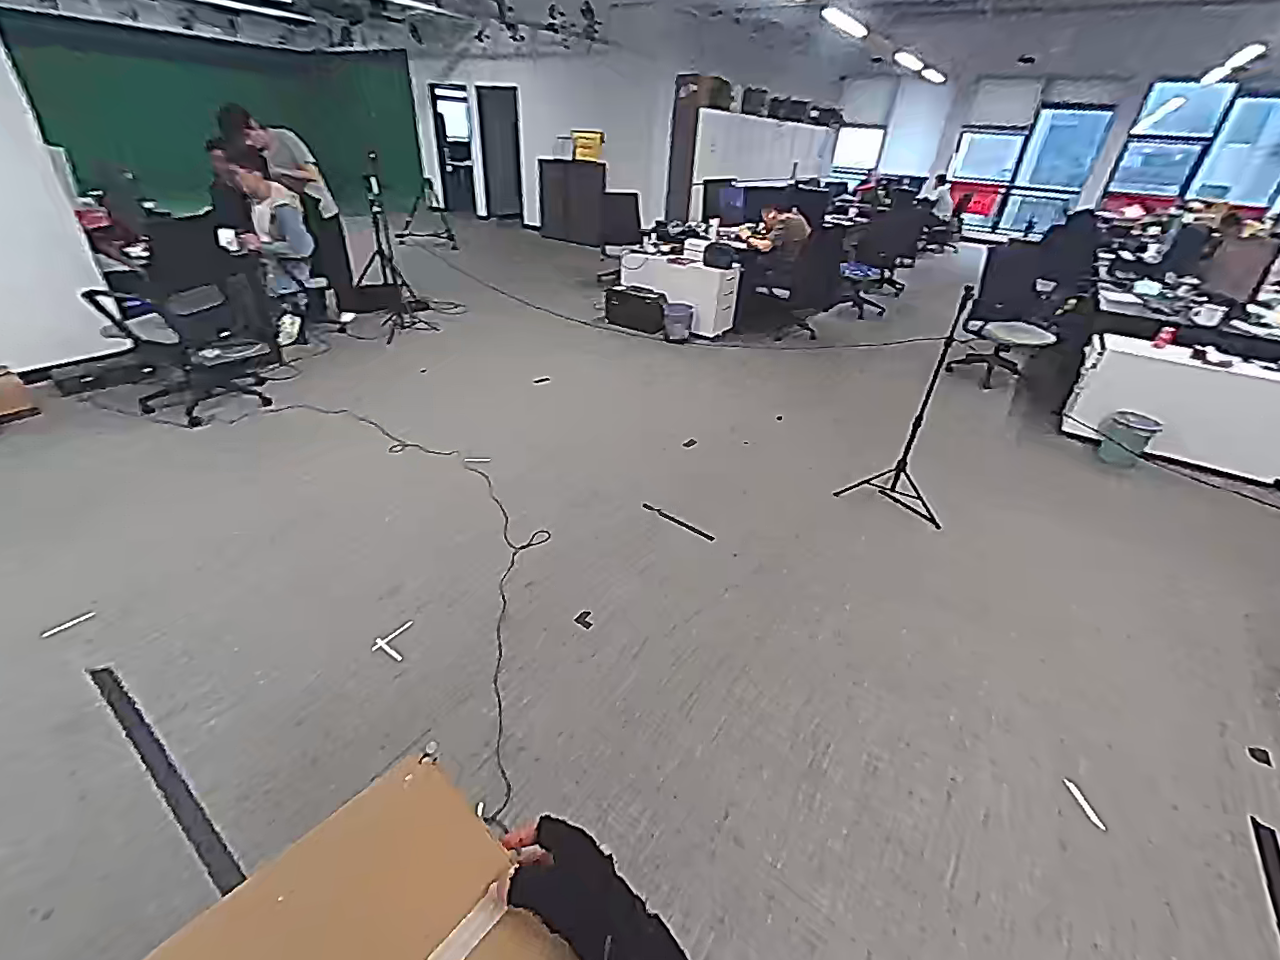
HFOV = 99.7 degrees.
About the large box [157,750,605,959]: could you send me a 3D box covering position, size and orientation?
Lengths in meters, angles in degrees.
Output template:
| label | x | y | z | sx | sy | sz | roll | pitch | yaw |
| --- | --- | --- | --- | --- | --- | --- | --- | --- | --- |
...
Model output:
| label | x | y | z | sx | sy | sz | roll | pitch | yaw |
| --- | --- | --- | --- | --- | --- | --- | --- | --- | --- |
| large box | -0.255 | 0.540 | 0.440 | 0.320 | 0.320 | 0.408 | 35 | 41 | 25 |
